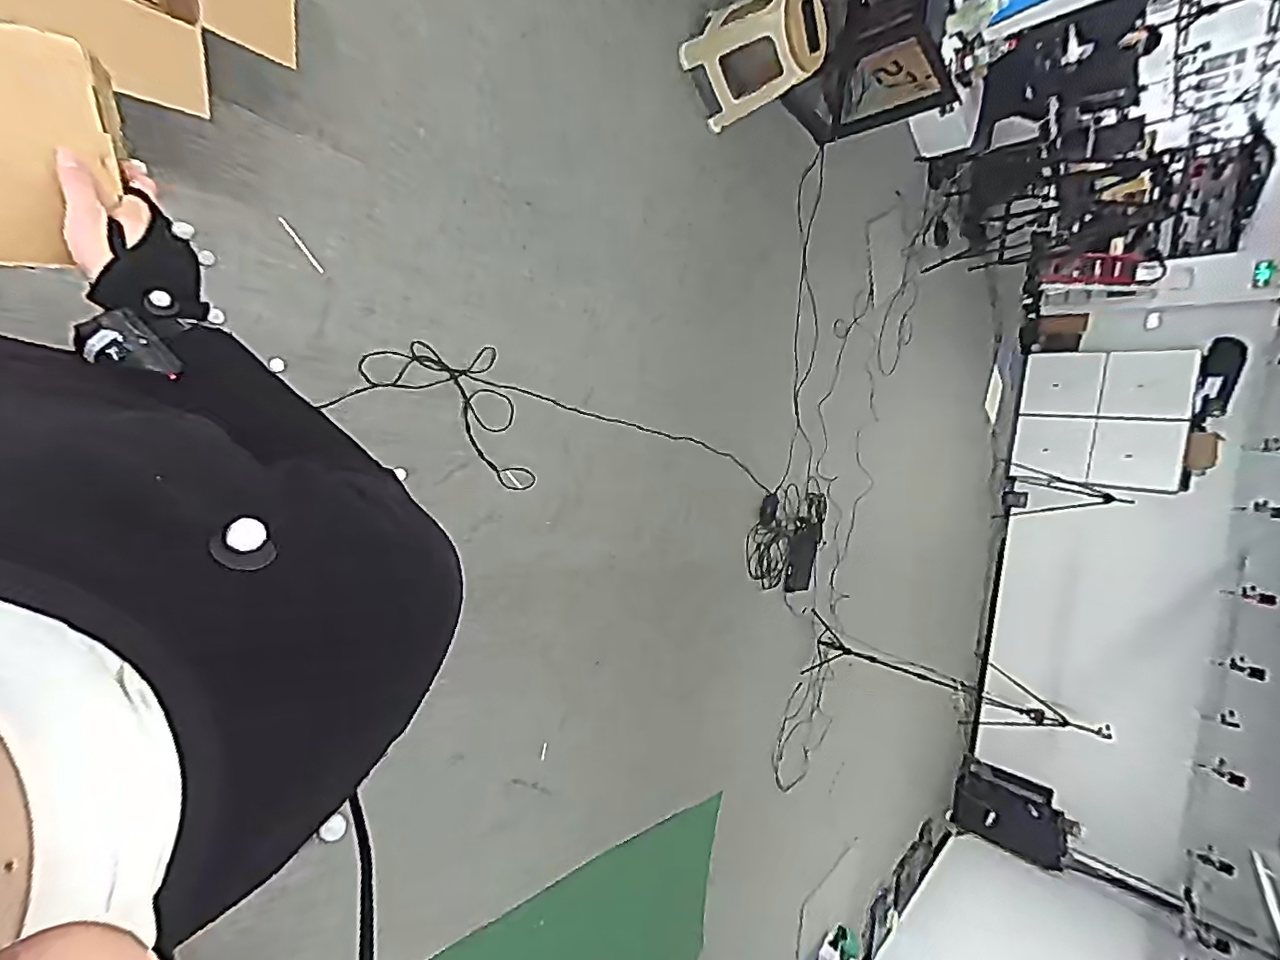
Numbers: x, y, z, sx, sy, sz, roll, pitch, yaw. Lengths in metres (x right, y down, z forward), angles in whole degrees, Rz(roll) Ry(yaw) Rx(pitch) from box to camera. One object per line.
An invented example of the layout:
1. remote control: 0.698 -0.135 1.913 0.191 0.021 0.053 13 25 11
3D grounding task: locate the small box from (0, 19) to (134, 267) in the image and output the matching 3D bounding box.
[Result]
1. small box: -0.545 -0.277 0.438 0.179 0.176 0.168 -11 120 -37
